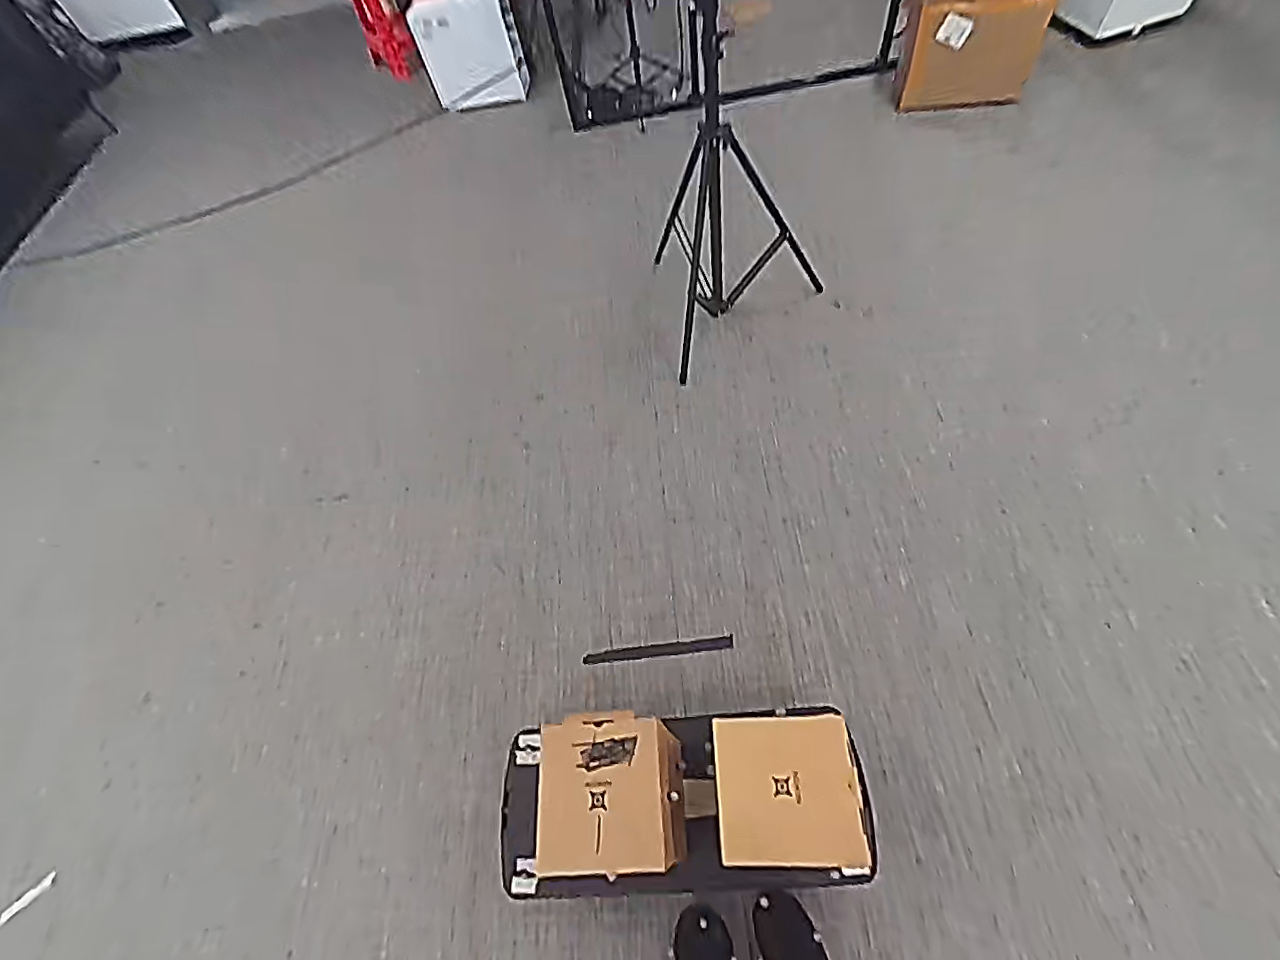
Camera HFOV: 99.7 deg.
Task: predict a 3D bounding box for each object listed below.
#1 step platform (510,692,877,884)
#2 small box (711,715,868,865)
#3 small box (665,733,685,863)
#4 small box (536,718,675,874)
[{"bbox_3d":[0.092,0.600,1.063,0.684,0.204,0.286,-8,58,6],"label":"step platform"},{"bbox_3d":[0.195,0.429,0.752,0.179,0.176,0.168,-4,59,6],"label":"small box"},{"bbox_3d":[-0.014,0.537,0.915,0.168,0.176,0.179,-6,59,7],"label":"small box"},{"bbox_3d":[-0.041,0.451,0.777,0.168,0.176,0.179,-6,59,6],"label":"small box"}]
